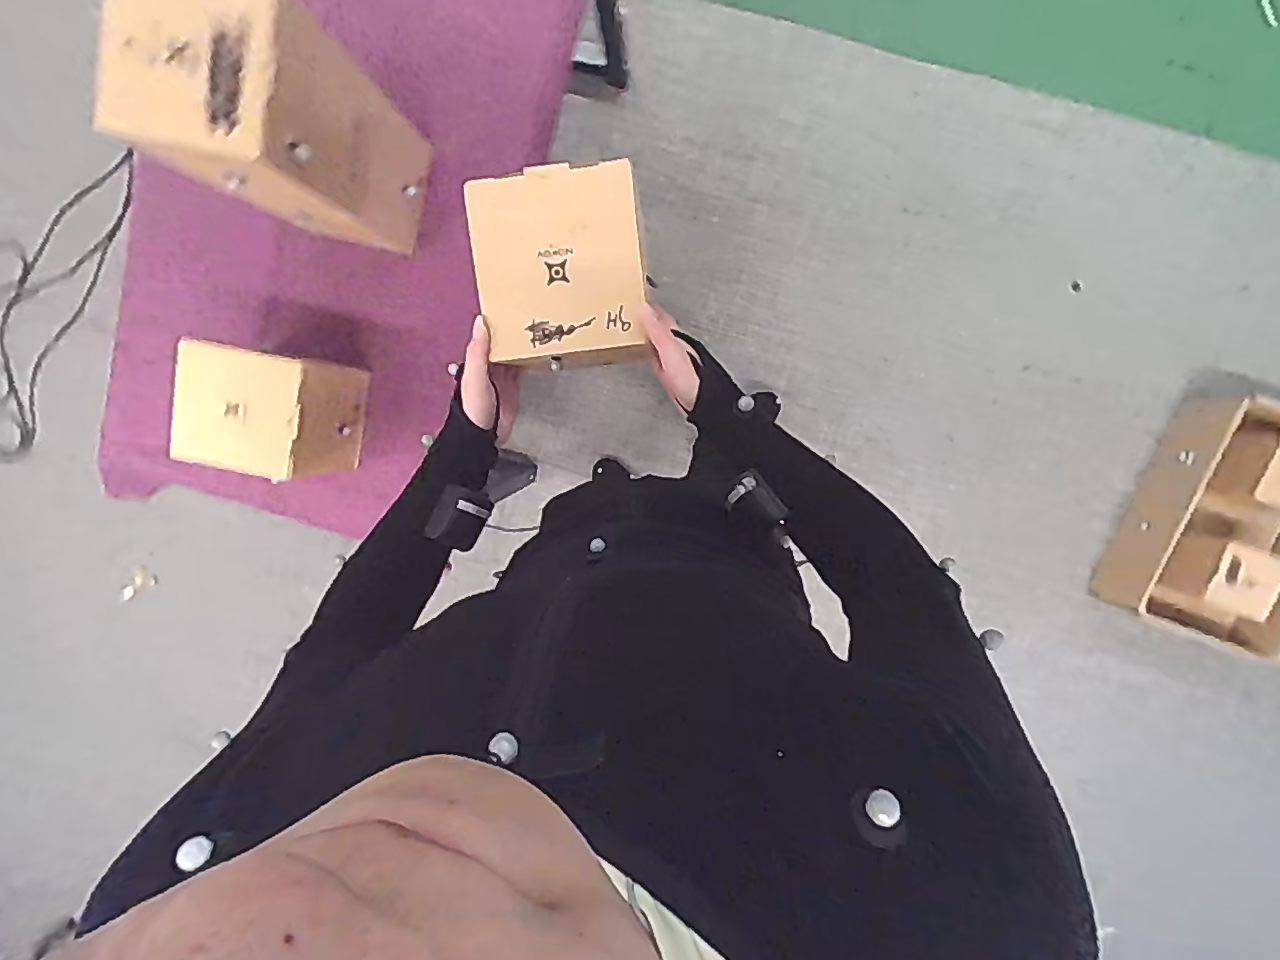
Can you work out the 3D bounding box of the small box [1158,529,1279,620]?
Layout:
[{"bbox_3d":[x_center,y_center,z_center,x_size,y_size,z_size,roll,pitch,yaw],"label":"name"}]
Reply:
[{"bbox_3d":[1.541,0.239,1.421,0.179,0.176,0.168,19,97,-1],"label":"small box"}]

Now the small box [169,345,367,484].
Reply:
[{"bbox_3d":[-0.550,-0.097,0.818,0.179,0.176,0.168,10,97,1],"label":"small box"}]

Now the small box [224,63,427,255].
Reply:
[{"bbox_3d":[-0.434,-0.439,0.768,0.179,0.176,0.168,13,98,1],"label":"small box"}]

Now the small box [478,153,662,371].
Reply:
[{"bbox_3d":[-0.064,-0.223,0.598,0.168,0.176,0.179,-5,96,5],"label":"small box"}]
